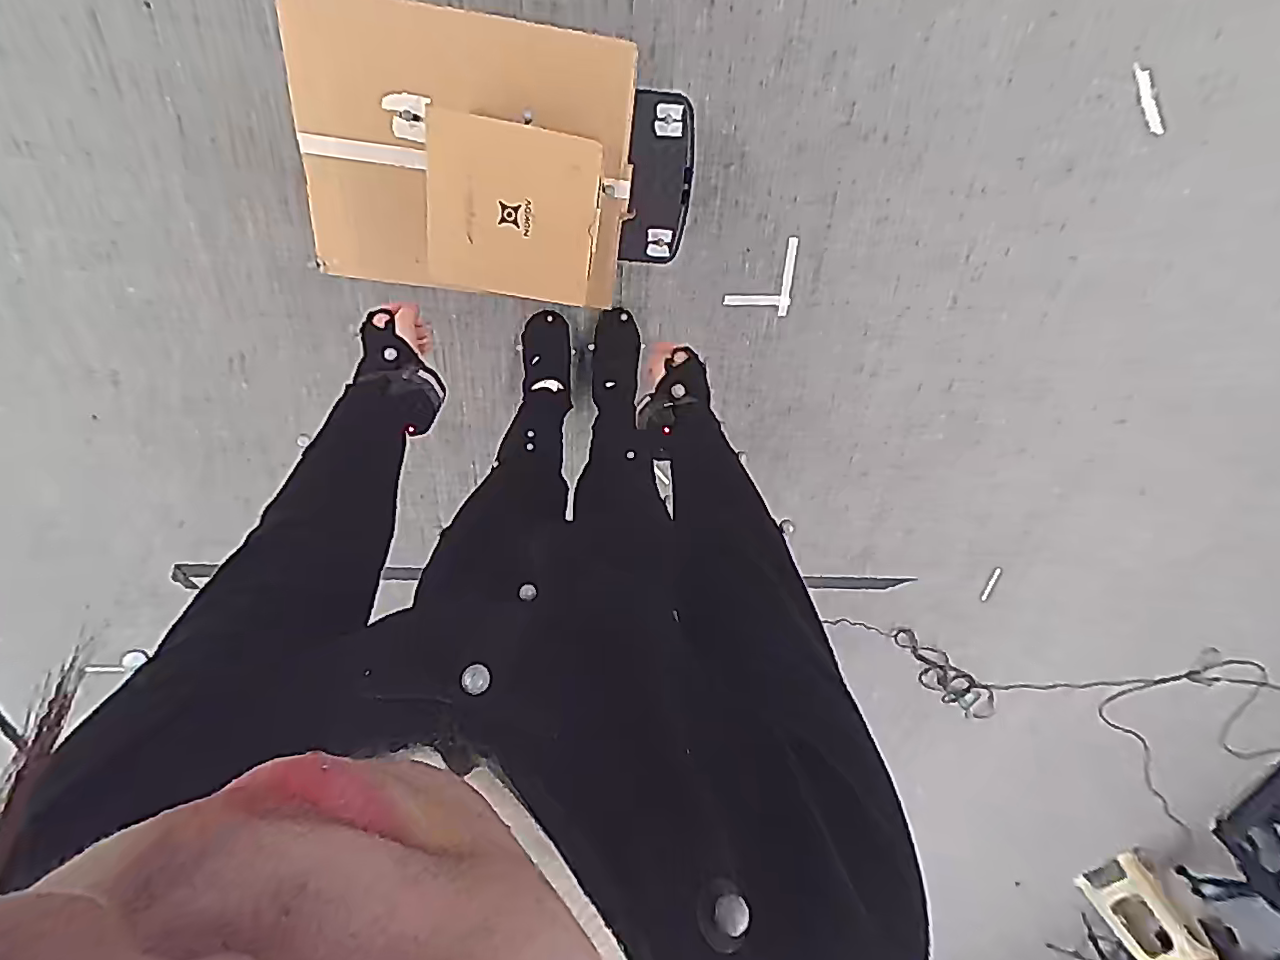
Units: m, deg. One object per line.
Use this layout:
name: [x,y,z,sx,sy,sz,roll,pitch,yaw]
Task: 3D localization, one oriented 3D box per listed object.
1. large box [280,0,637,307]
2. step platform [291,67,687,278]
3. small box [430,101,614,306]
large box: [-0.221,-0.470,0.809,0.408,0.320,0.320,5,120,-6]
step platform: [-0.257,-0.584,1.017,0.684,0.204,0.286,7,120,-7]
small box: [-0.130,-0.317,0.622,0.179,0.176,0.168,8,121,-8]
